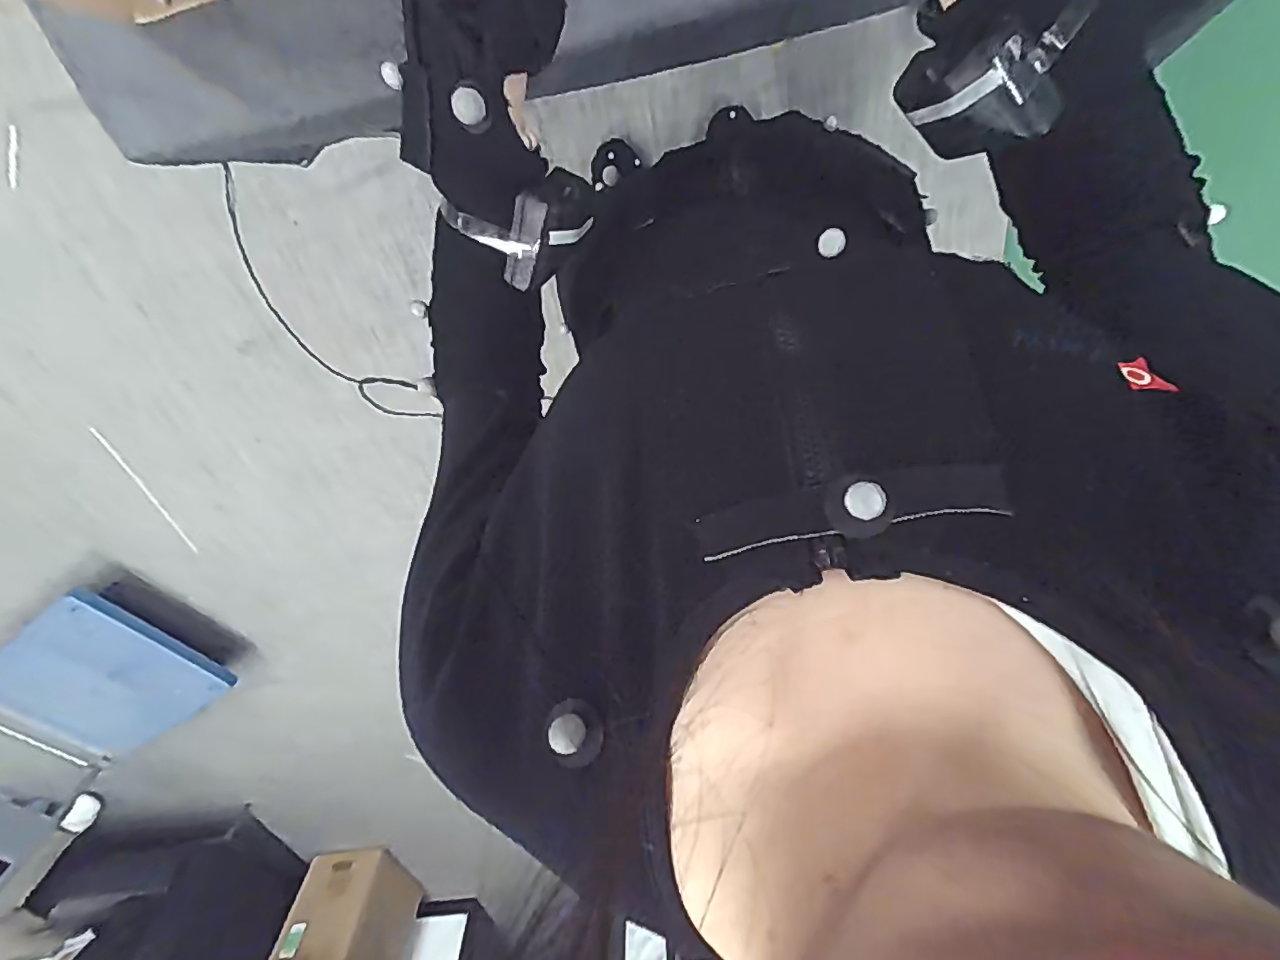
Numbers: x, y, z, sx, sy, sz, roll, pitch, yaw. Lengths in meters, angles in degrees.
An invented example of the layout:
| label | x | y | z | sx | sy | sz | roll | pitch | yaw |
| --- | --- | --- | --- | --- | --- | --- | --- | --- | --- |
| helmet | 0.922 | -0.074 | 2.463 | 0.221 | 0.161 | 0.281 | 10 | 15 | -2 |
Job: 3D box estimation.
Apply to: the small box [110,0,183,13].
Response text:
| label | x | y | z | sx | sy | sz | roll | pitch | yaw |
| --- | --- | --- | --- | --- | --- | --- | --- | --- | --- |
| small box | -0.421 | -0.485 | 0.392 | 0.168 | 0.176 | 0.179 | -11 | 122 | 7 |
